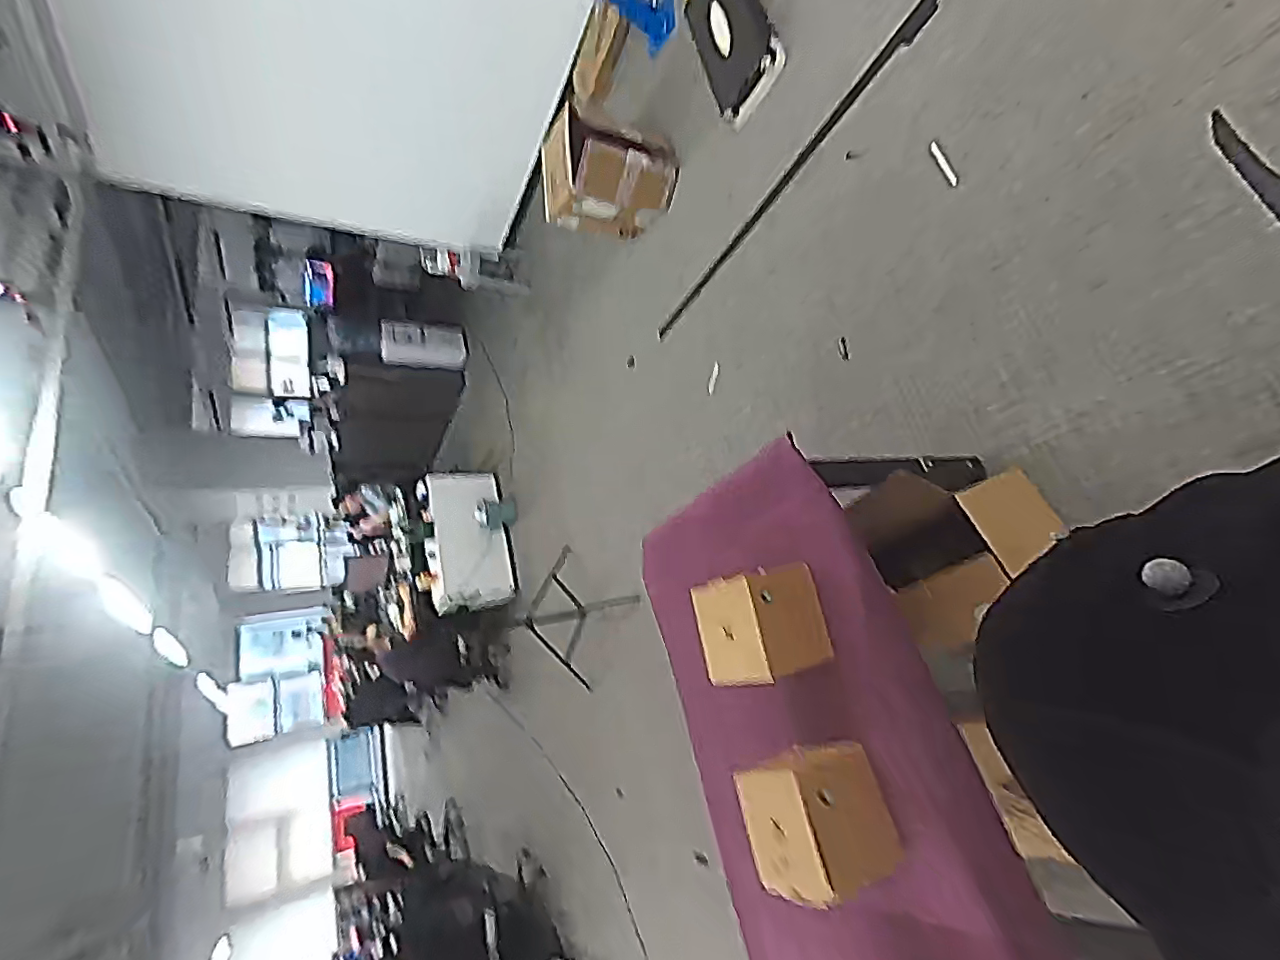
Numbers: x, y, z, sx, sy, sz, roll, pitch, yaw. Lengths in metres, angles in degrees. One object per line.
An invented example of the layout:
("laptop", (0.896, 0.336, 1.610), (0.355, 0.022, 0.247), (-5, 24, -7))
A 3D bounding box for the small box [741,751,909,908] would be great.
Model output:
("small box", (0.306, 0.570, 0.909), (0.168, 0.176, 0.179), (-47, 53, 51))

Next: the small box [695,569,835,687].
("small box", (0.233, 0.276, 1.009), (0.168, 0.176, 0.179), (-35, 62, 53))
